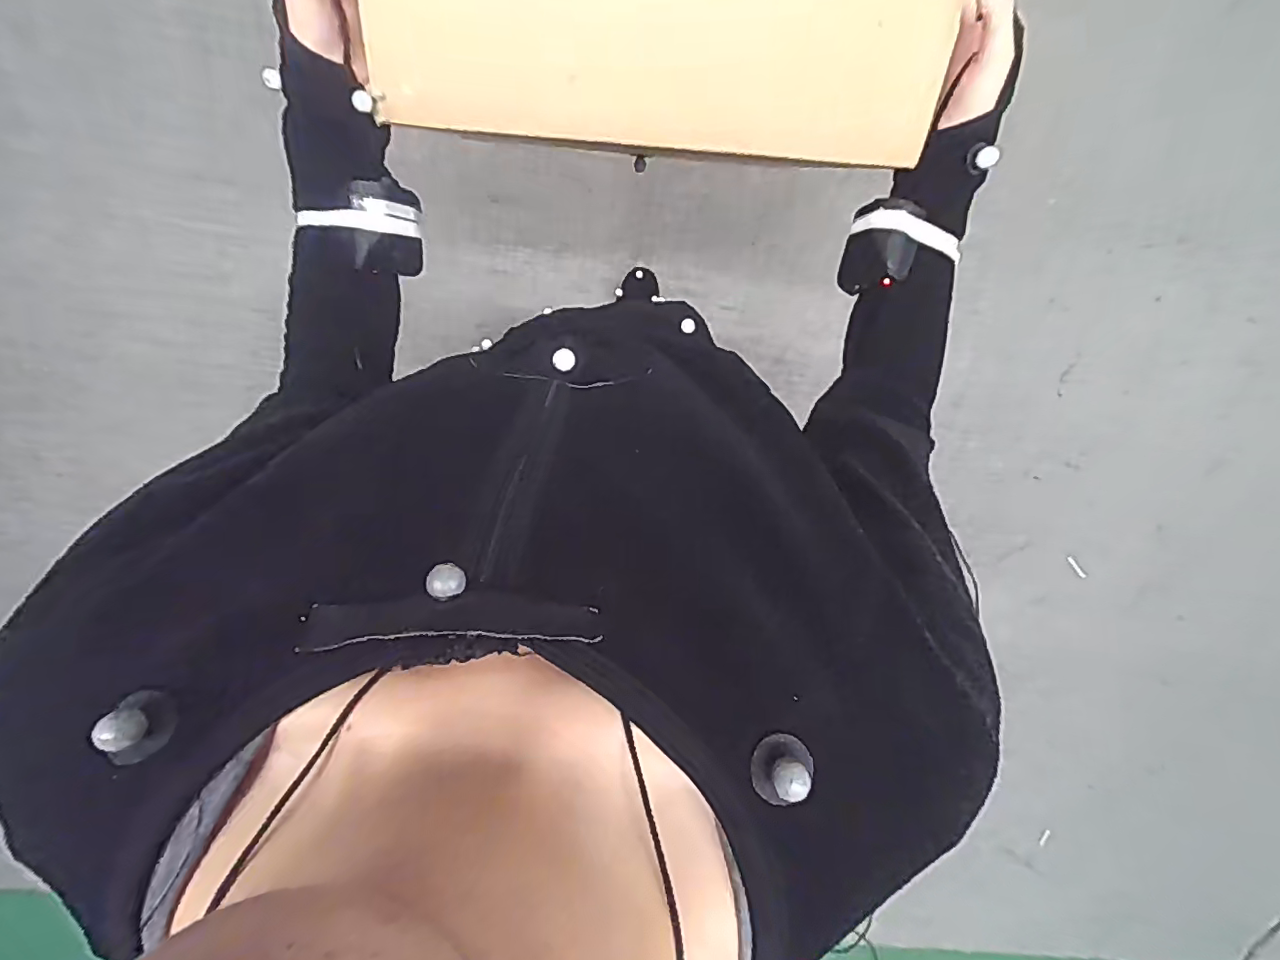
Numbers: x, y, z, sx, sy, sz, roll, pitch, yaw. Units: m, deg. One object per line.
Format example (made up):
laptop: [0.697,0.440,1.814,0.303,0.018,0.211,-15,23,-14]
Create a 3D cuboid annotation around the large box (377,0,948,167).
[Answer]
large box: [0.015,-0.463,0.465,0.408,0.320,0.320,1,120,-6]
